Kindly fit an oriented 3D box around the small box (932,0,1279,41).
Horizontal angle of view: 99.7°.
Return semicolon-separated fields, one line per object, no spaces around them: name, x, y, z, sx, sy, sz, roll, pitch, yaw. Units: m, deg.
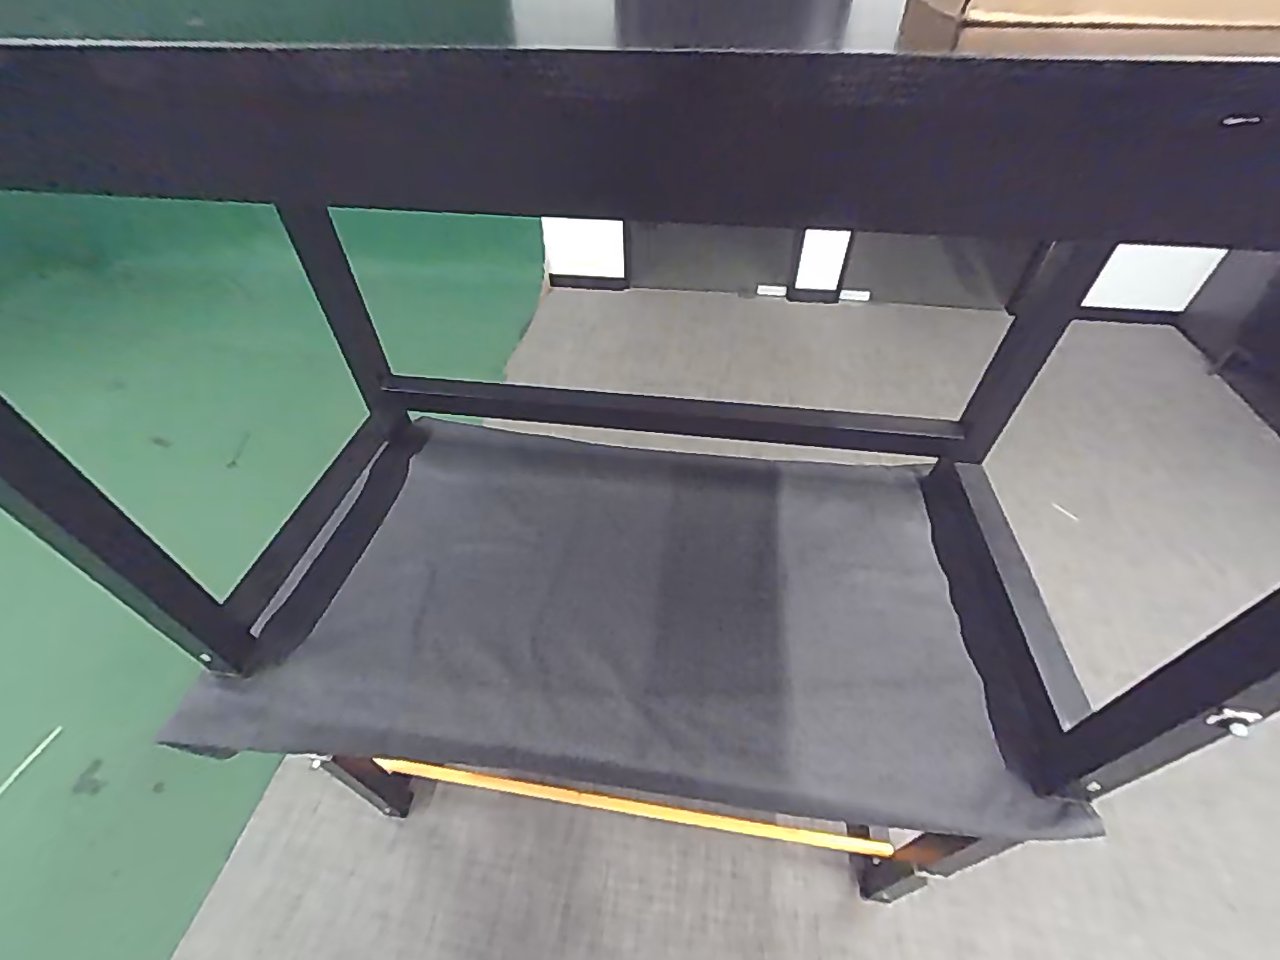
small box;0.236;-0.310;0.230;0.168;0.176;0.179;9;46;9
